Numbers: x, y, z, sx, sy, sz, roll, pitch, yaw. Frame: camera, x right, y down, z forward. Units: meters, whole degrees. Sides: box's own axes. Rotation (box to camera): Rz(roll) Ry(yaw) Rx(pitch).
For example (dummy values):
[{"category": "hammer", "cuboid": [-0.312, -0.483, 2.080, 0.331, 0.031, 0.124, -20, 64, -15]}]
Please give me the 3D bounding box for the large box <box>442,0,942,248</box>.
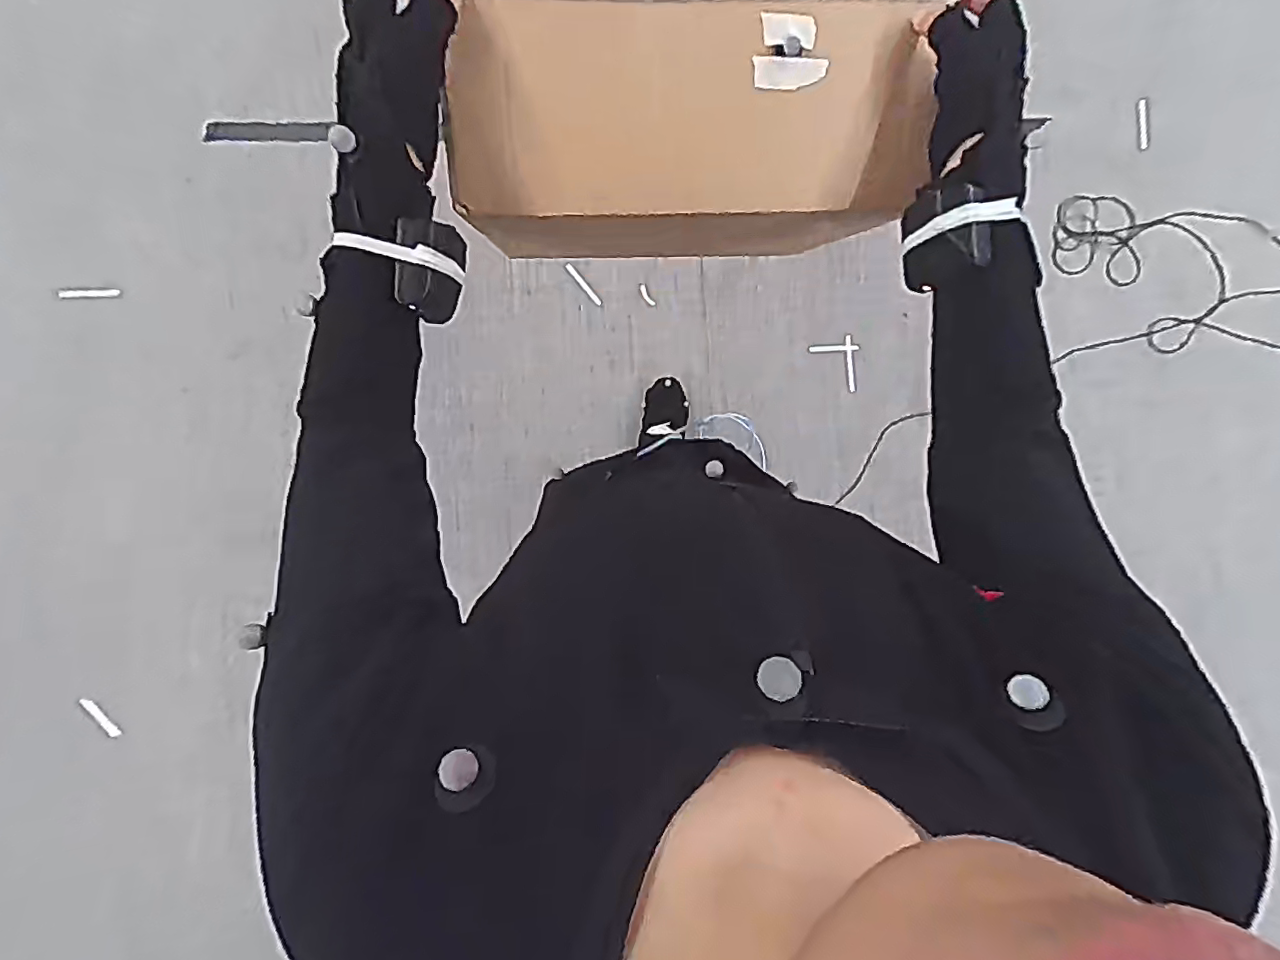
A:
[{"category": "large box", "cuboid": [0.030, -0.430, 0.558, 0.408, 0.320, 0.320, -3, 107, -5]}]
